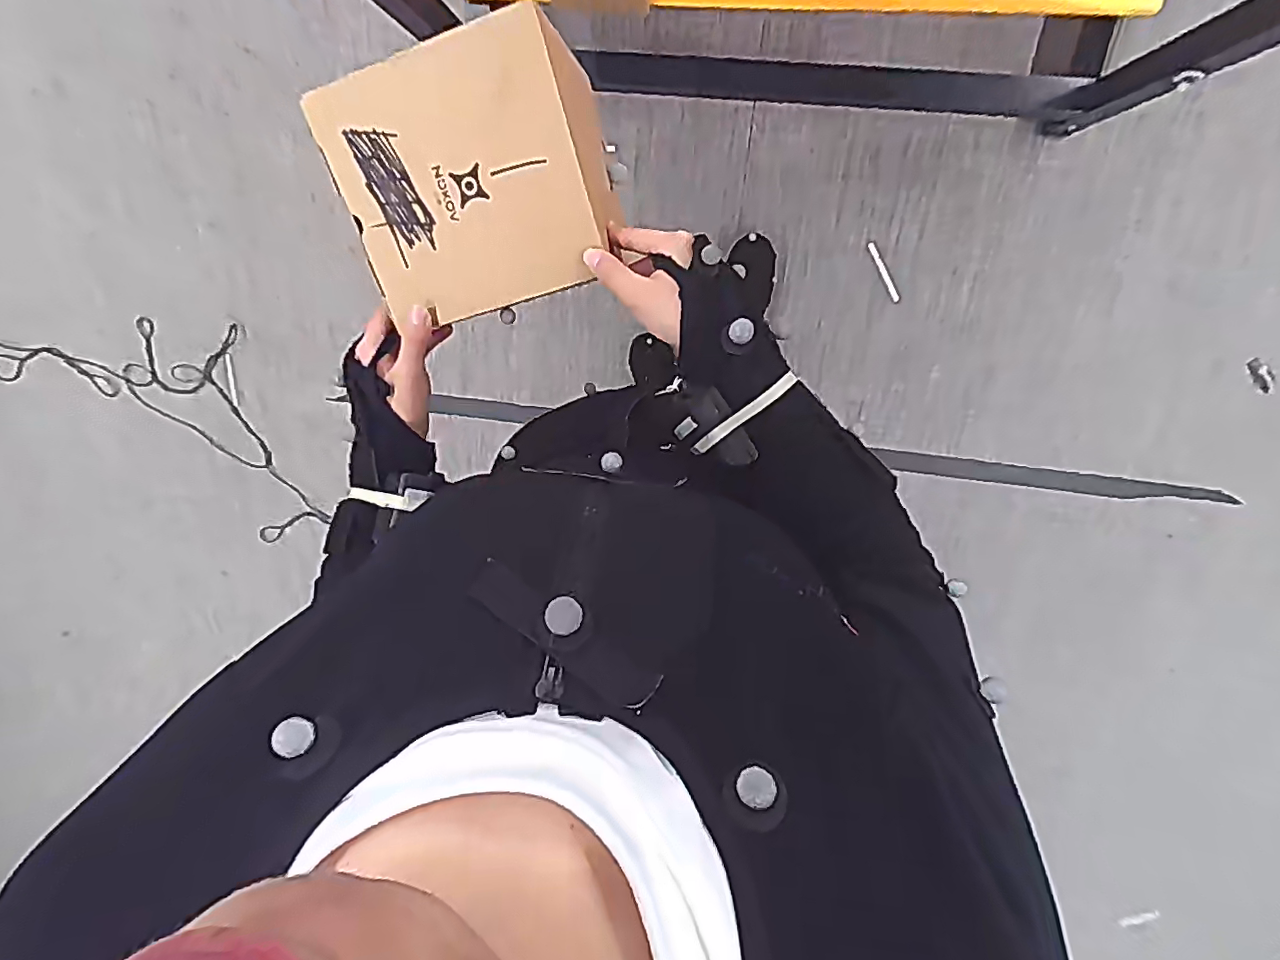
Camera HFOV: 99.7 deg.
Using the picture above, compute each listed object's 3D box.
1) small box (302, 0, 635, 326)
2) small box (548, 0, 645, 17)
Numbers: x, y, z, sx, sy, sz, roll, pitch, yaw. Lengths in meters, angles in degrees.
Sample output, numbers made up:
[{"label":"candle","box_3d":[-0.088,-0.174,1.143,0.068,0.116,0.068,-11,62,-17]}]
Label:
[{"label":"small box","box_3d":[-0.114,-0.234,0.440,0.179,0.176,0.168,-12,111,11]},{"label":"small box","box_3d":[-0.074,-0.893,0.882,0.179,0.176,0.168,5,112,4]}]
